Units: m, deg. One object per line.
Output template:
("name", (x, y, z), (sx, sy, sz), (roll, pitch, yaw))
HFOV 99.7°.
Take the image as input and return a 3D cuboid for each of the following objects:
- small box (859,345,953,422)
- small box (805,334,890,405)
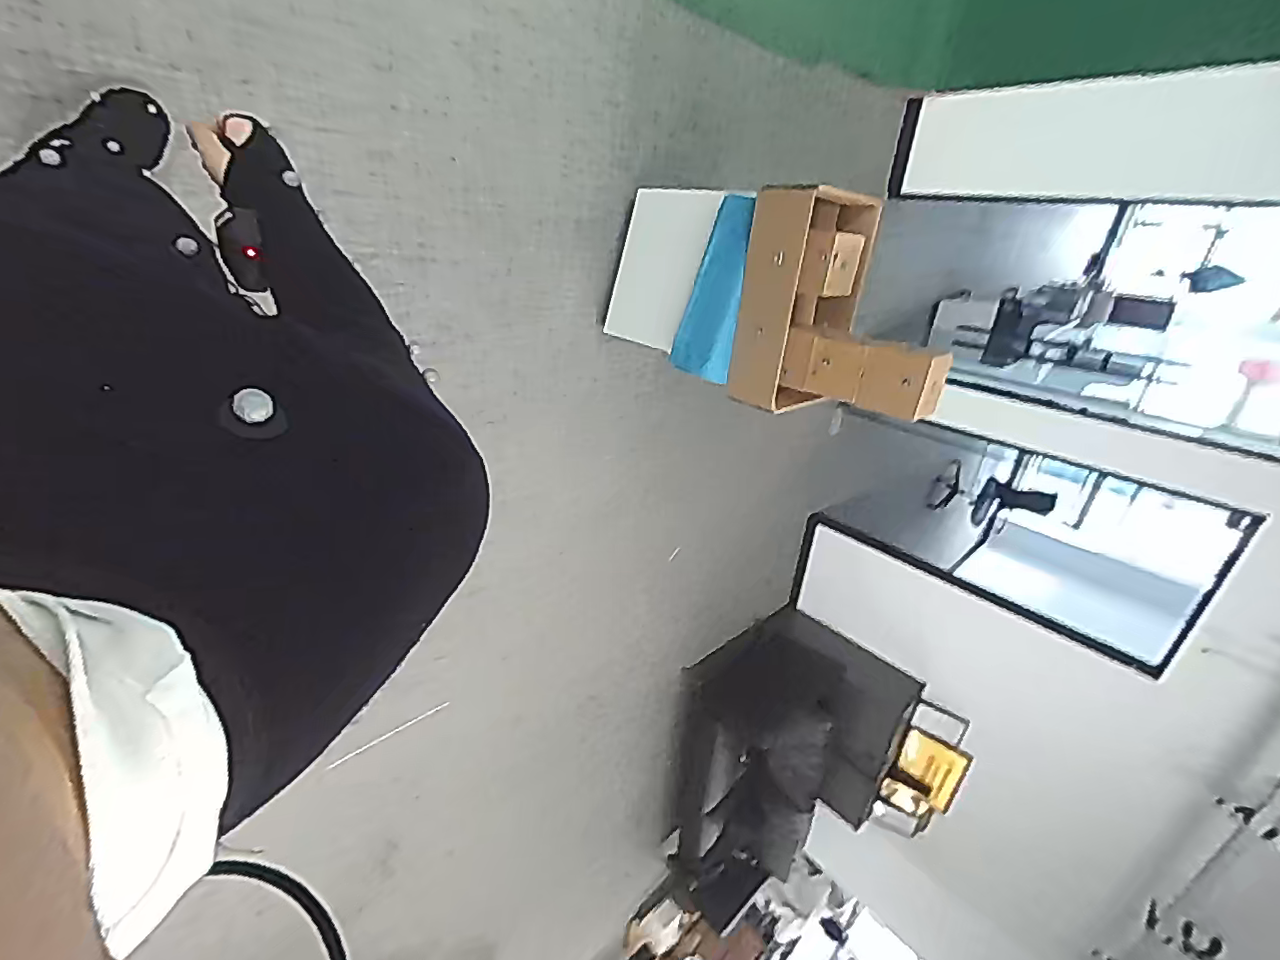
("small box", (0.736, -0.278, 1.508), (0.168, 0.176, 0.179), (-17, 123, -41))
("small box", (0.621, -0.335, 1.612), (0.179, 0.176, 0.168), (-18, 123, -42))
